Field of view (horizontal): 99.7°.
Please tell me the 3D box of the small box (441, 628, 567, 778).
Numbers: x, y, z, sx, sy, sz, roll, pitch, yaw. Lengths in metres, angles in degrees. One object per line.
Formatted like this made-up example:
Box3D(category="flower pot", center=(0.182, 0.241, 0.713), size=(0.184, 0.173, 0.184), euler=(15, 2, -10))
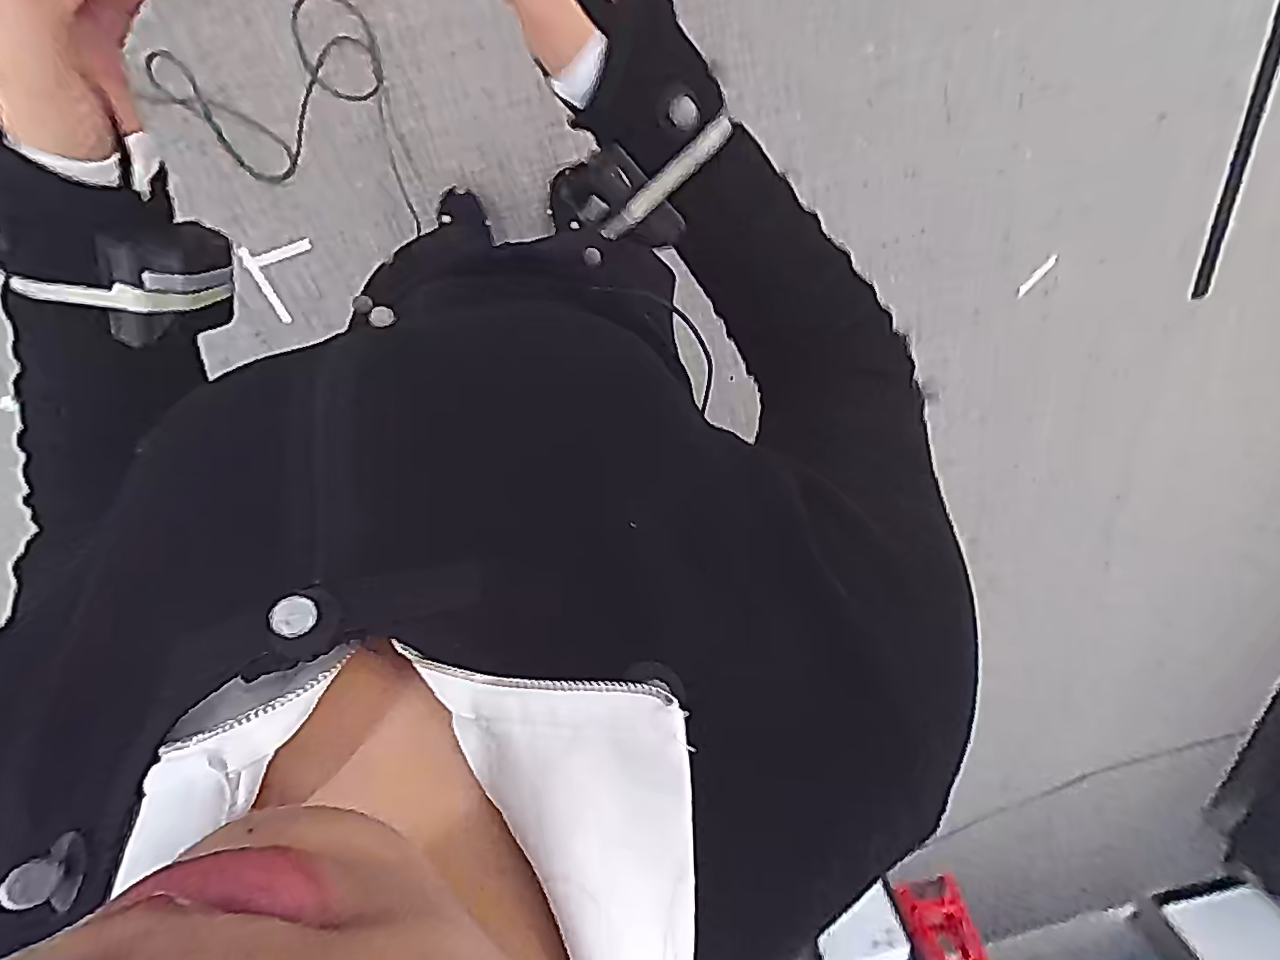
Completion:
Box3D(category="small box", center=(-0.236, 0.405, 0.992), size=(0.168, 0.176, 0.179), euler=(-16, 120, 2))
